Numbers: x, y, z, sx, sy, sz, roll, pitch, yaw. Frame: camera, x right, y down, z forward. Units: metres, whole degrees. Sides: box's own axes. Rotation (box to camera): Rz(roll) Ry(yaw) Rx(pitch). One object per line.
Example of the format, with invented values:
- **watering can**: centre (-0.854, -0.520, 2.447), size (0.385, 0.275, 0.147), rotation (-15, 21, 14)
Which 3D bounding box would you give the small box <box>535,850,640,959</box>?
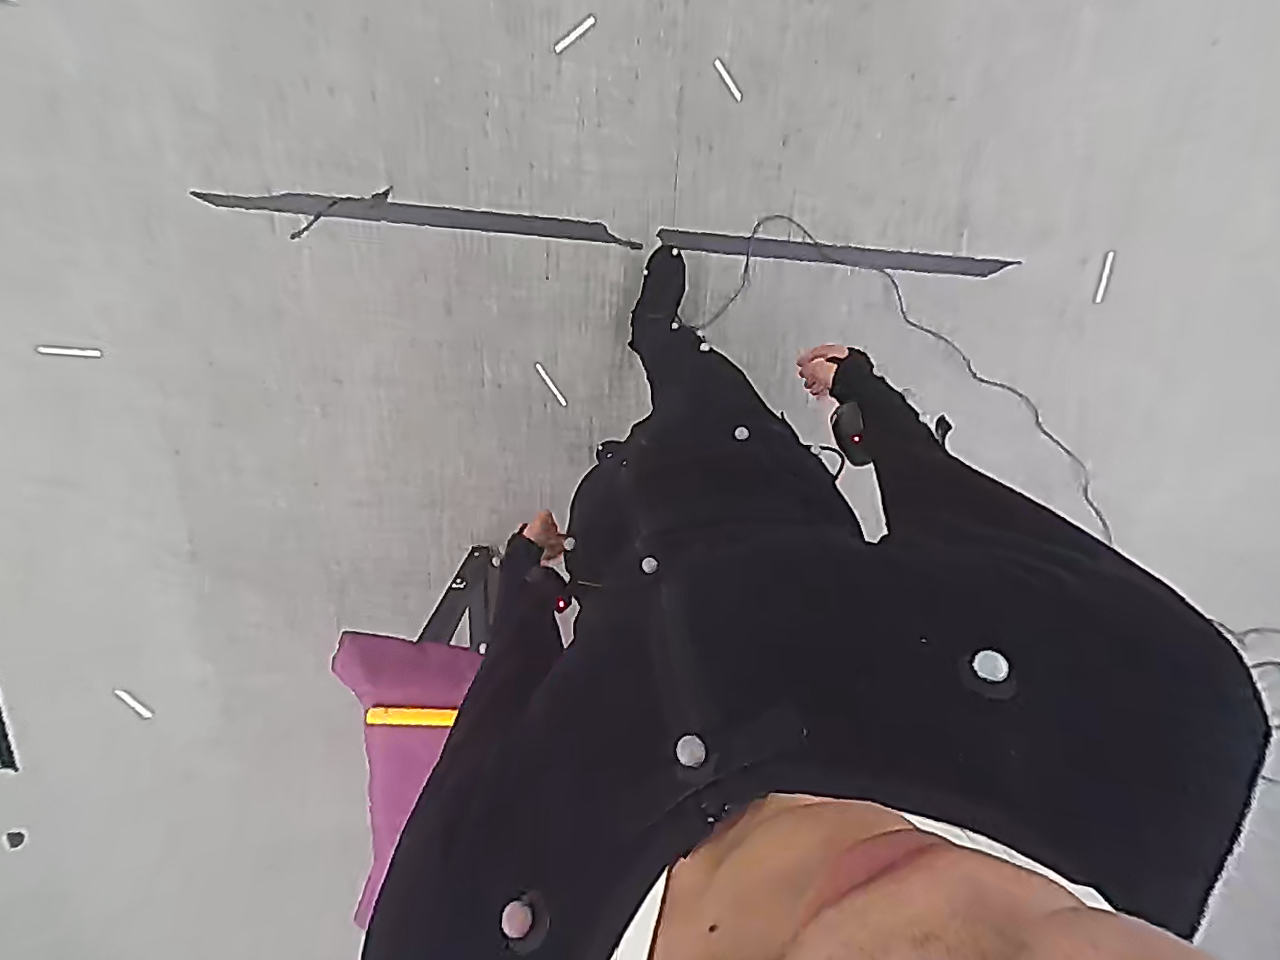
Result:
- **small box**: centre (-0.099, 0.819, 0.995), size (0.179, 0.176, 0.168), rotation (3, 103, -5)
